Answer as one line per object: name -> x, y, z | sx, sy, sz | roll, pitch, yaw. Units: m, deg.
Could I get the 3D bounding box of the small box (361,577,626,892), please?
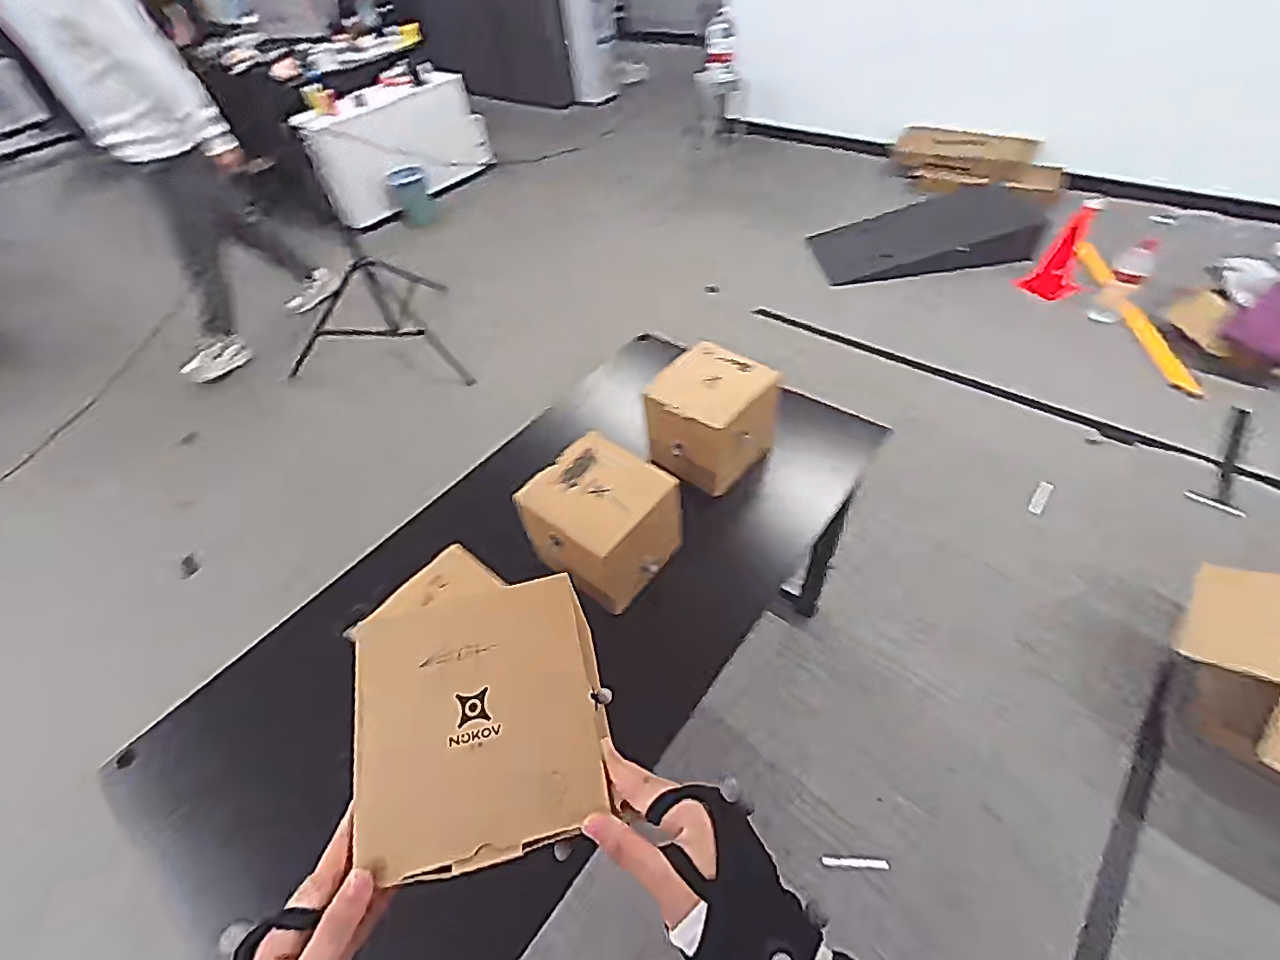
small box -> -0.108, 0.204, 0.449 | 0.168, 0.176, 0.179 | -12, 60, -6

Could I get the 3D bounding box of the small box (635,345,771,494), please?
small box -> 0.117, -0.106, 0.968 | 0.168, 0.176, 0.179 | 32, 61, 29

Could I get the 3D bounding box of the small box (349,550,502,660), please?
small box -> -0.236, 0.233, 0.723 | 0.179, 0.176, 0.168 | 29, 58, 28

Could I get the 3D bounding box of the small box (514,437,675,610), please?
small box -> -0.062, 0.070, 0.841 | 0.179, 0.176, 0.168 | 30, 59, 27
